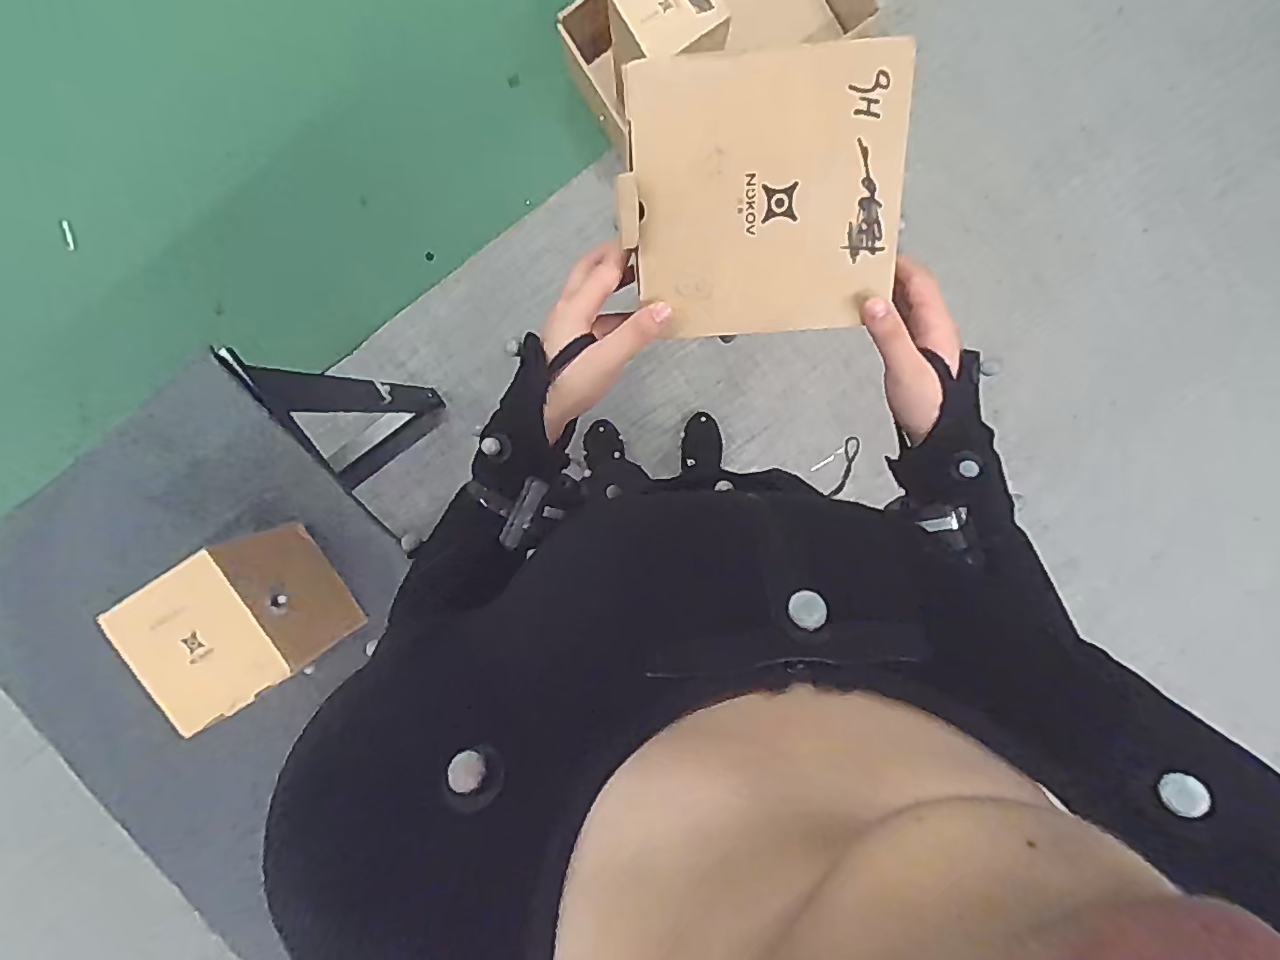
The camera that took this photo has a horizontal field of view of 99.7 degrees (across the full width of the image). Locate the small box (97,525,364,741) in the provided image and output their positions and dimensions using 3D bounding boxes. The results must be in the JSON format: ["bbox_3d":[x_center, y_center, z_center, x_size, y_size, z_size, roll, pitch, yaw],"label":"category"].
[{"bbox_3d":[-0.497,0.180,0.688,0.168,0.176,0.179,-32,95,5],"label":"small box"}]

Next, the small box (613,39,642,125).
[{"bbox_3d":[0.058,-0.920,1.230,0.179,0.176,0.168,-34,96,4],"label":"small box"}]

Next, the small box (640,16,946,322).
[{"bbox_3d":[0.093,-0.211,0.411,0.179,0.176,0.168,-2,111,2],"label":"small box"}]

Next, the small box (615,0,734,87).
[{"bbox_3d":[0.059,-0.897,1.067,0.179,0.176,0.168,-33,95,5],"label":"small box"}]
